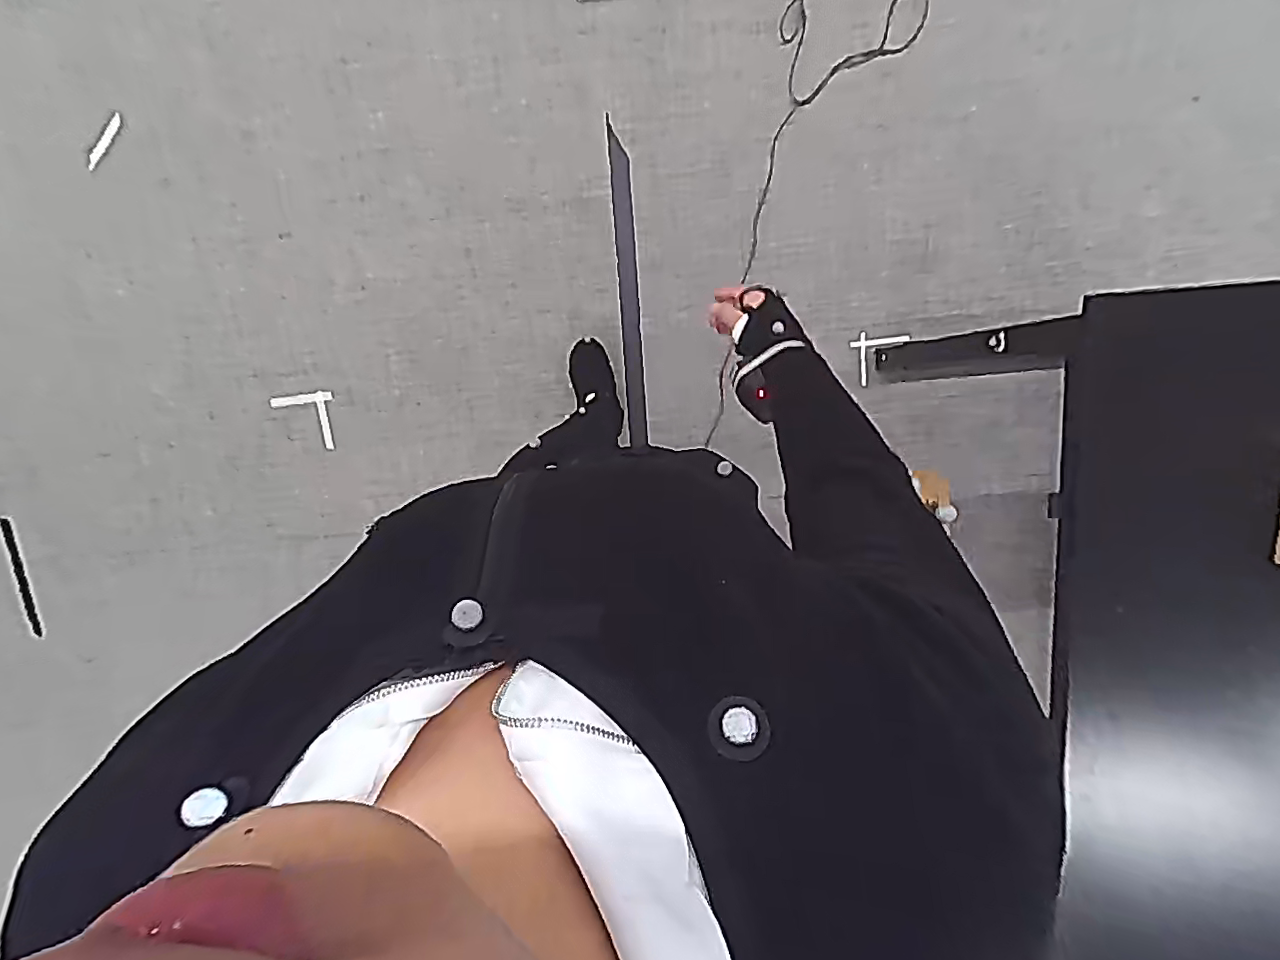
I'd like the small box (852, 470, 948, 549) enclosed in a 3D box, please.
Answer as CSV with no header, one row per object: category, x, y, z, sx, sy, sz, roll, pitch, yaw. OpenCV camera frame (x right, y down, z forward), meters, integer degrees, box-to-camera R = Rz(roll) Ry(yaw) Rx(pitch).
small box,0.664,0.070,1.392,0.179,0.176,0.168,-5,98,3

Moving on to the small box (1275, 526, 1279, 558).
small box,0.939,0.042,0.642,0.179,0.176,0.168,-1,100,1
